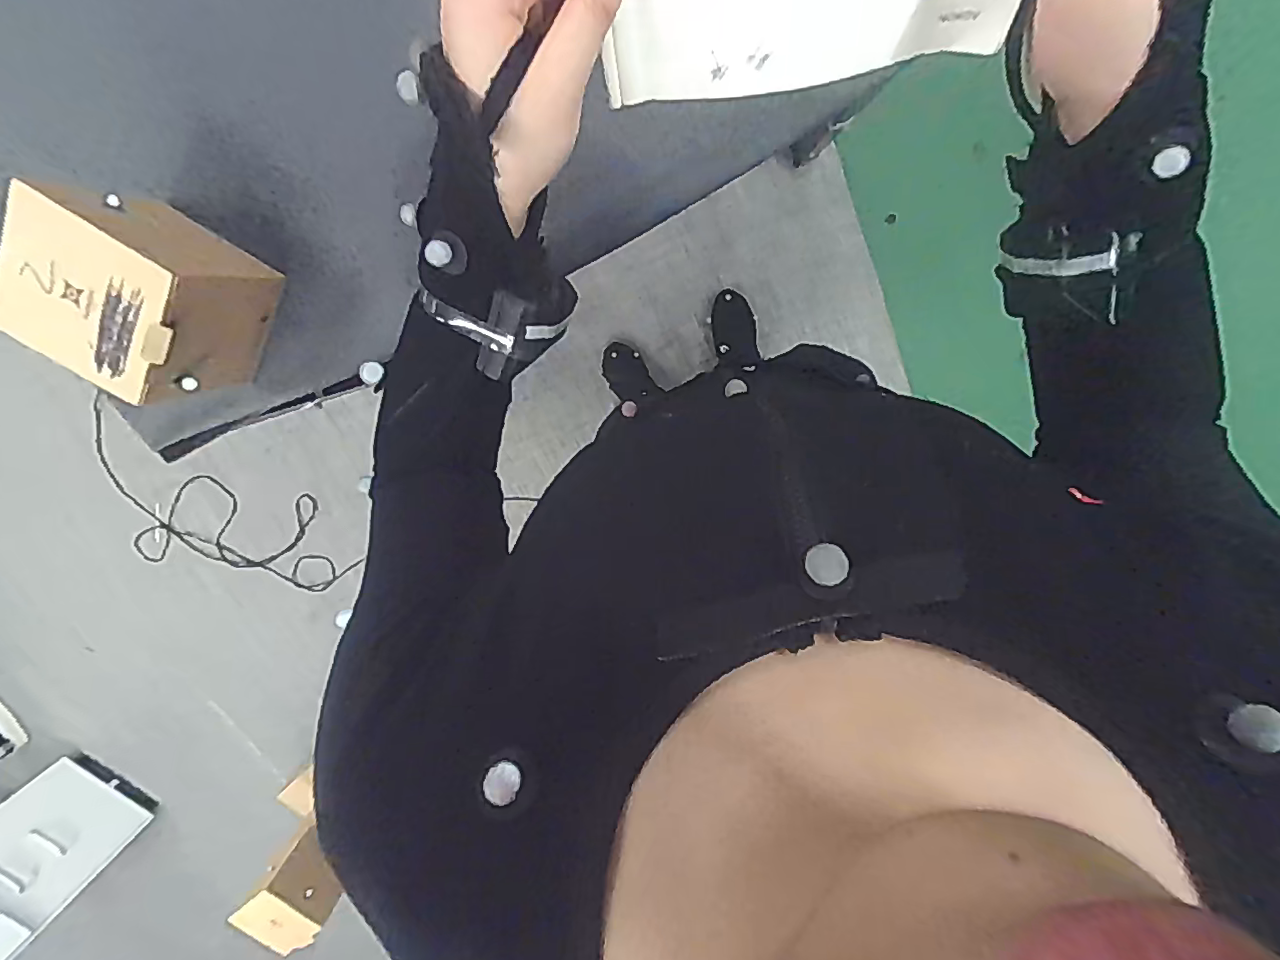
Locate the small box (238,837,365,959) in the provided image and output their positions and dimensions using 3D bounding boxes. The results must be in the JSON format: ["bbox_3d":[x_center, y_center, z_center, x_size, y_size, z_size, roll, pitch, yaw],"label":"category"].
[{"bbox_3d":[-0.859,1.059,1.388,0.168,0.176,0.179,-41,101,15],"label":"small box"}]

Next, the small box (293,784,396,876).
[{"bbox_3d":[-0.839,1.017,1.544,0.168,0.176,0.179,-42,101,15],"label":"small box"}]
